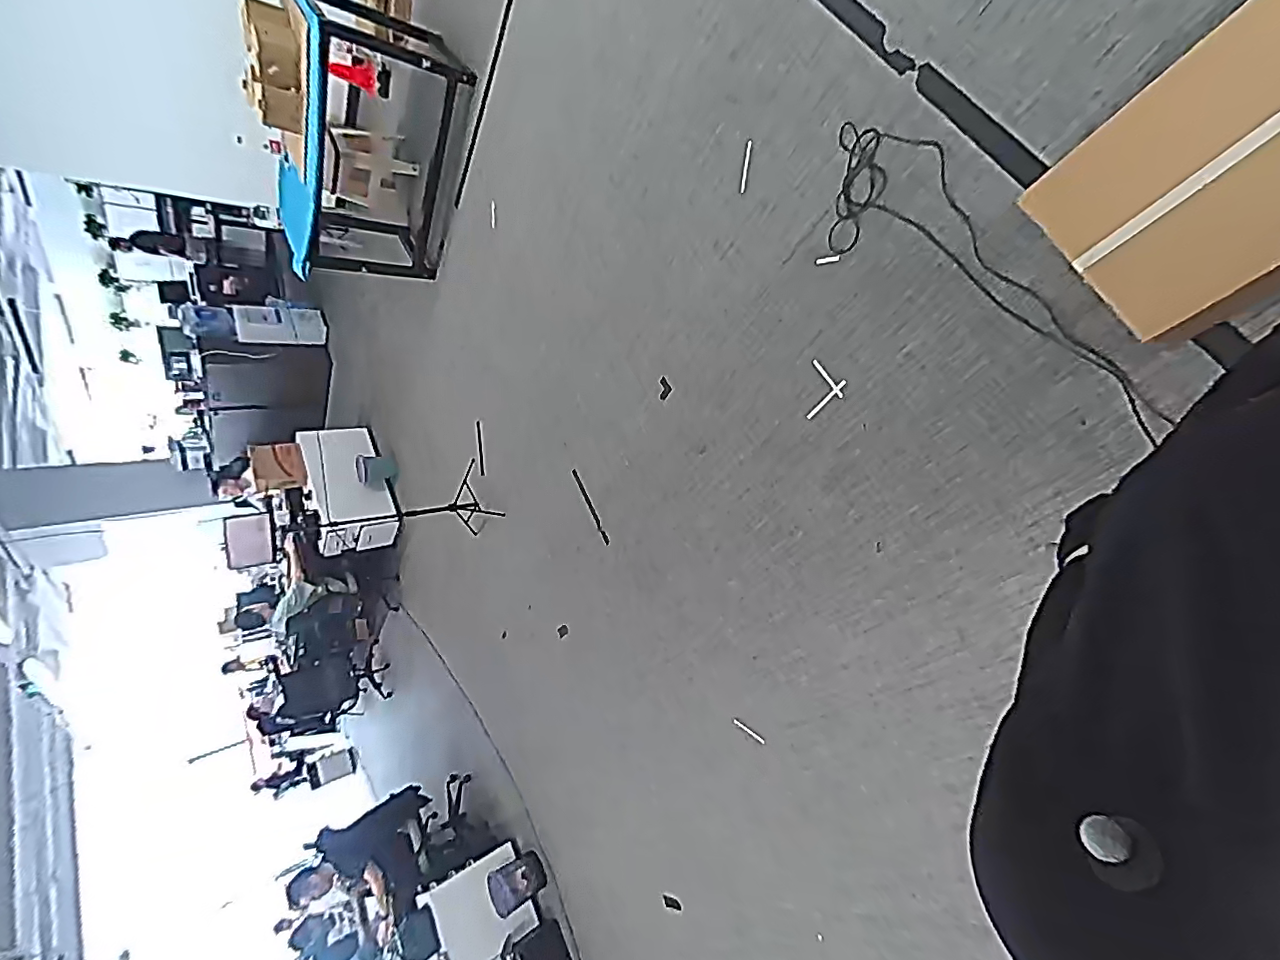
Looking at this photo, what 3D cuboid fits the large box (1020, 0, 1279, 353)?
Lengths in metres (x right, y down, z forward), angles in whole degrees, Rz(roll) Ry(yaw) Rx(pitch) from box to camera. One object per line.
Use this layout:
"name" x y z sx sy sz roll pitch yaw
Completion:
"large box" 0.913 -0.444 0.822 0.408 0.320 0.320 -45 63 44
